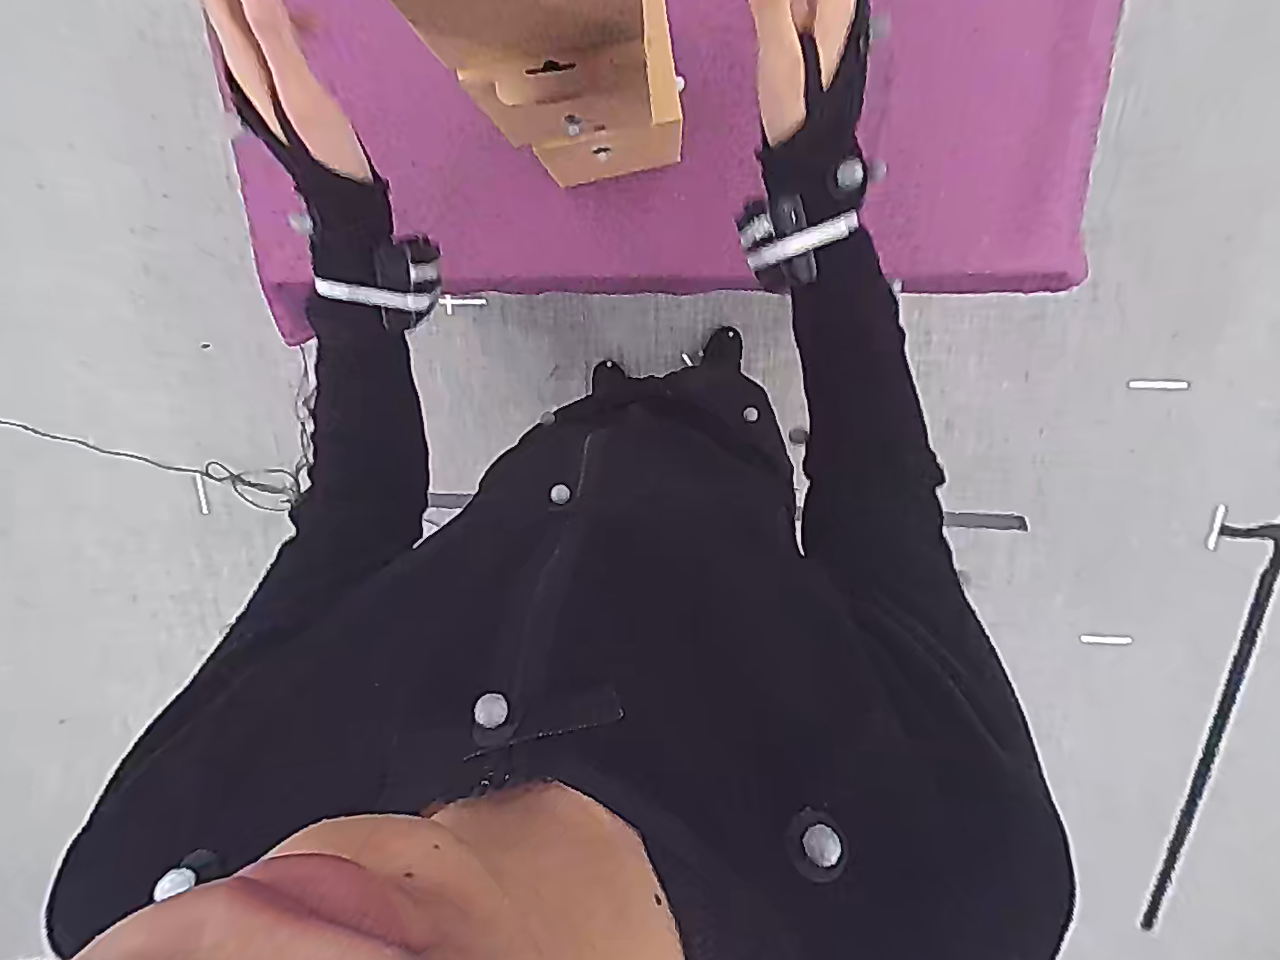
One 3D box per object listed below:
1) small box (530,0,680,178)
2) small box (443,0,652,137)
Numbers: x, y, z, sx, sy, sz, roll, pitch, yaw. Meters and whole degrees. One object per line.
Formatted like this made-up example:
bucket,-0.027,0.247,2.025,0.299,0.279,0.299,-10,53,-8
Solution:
small box,-0.048,-0.494,0.664,0.179,0.176,0.168,-10,106,5
small box,-0.079,-0.455,0.506,0.168,0.176,0.179,-4,106,5
